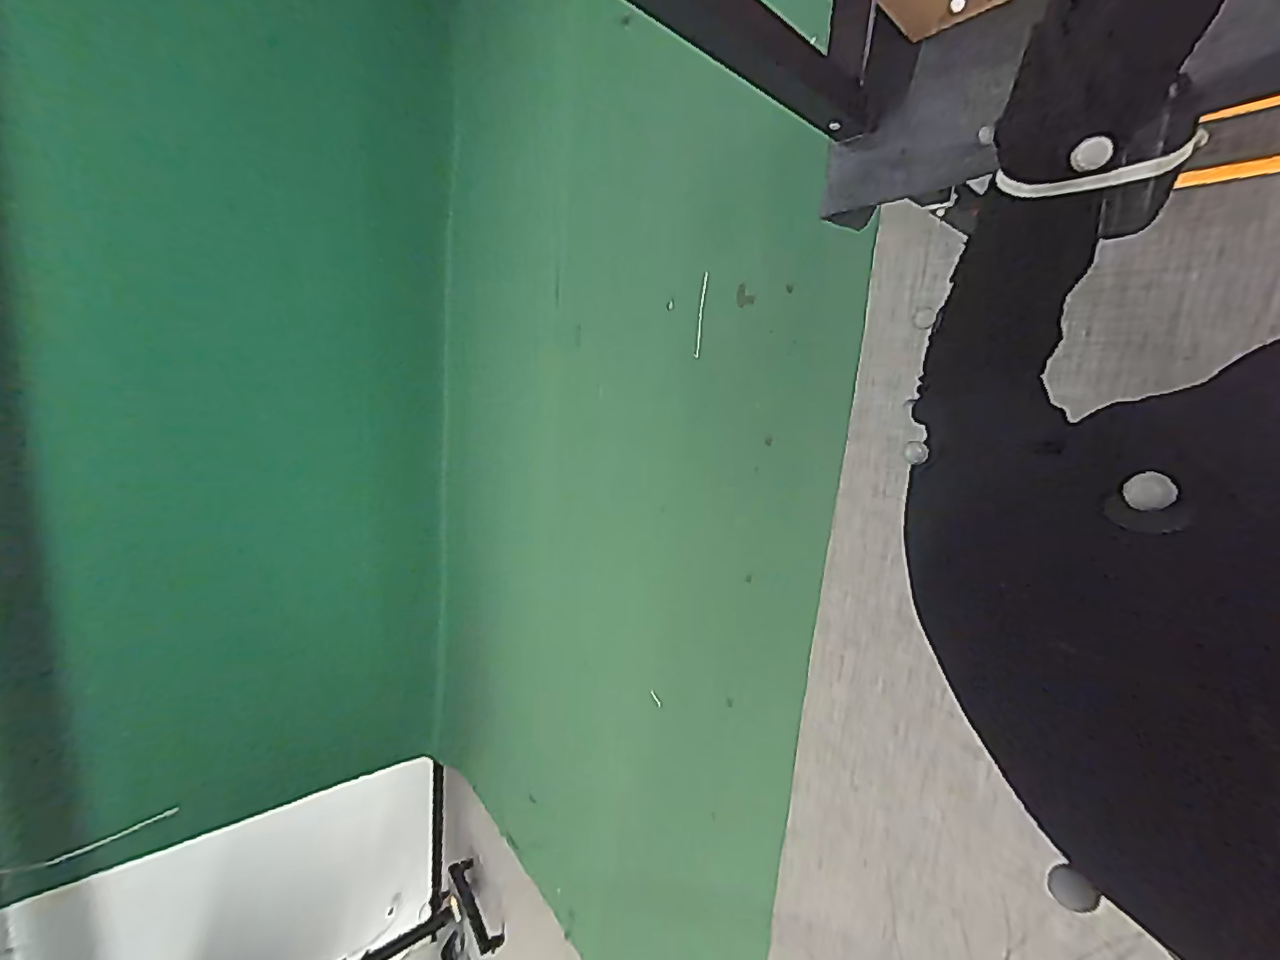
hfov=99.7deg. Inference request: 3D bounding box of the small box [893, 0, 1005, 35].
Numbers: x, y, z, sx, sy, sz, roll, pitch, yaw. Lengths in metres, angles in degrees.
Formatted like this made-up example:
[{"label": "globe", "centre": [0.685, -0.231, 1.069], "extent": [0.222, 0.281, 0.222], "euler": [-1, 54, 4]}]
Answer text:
[{"label": "small box", "centre": [0.374, -0.673, 0.617], "extent": [0.168, 0.176, 0.179], "euler": [12, 102, 49]}]
